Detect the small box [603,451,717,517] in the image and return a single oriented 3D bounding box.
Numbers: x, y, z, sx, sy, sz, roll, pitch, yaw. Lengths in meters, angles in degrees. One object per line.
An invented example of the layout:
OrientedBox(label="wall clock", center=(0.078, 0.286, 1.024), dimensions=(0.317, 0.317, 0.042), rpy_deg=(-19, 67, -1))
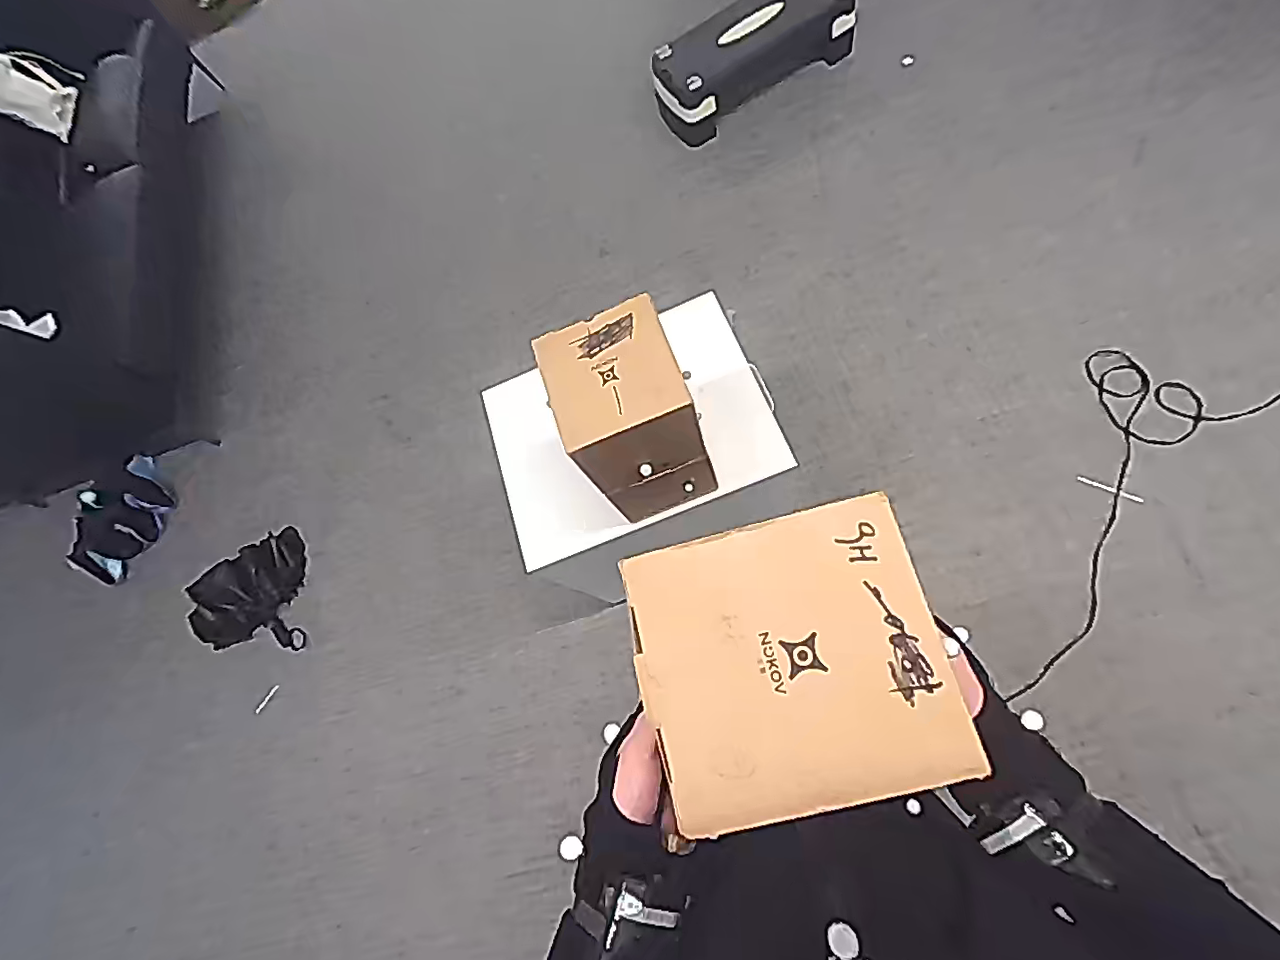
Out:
OrientedBox(label="small box", center=(0.019, -0.051, 0.899), dimensions=(0.168, 0.176, 0.179), rpy_deg=(-22, 66, 5))

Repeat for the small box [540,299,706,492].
OrientedBox(label="small box", center=(-0.017, -0.107, 0.749), dimensions=(0.168, 0.176, 0.179), rpy_deg=(-21, 68, 5))
